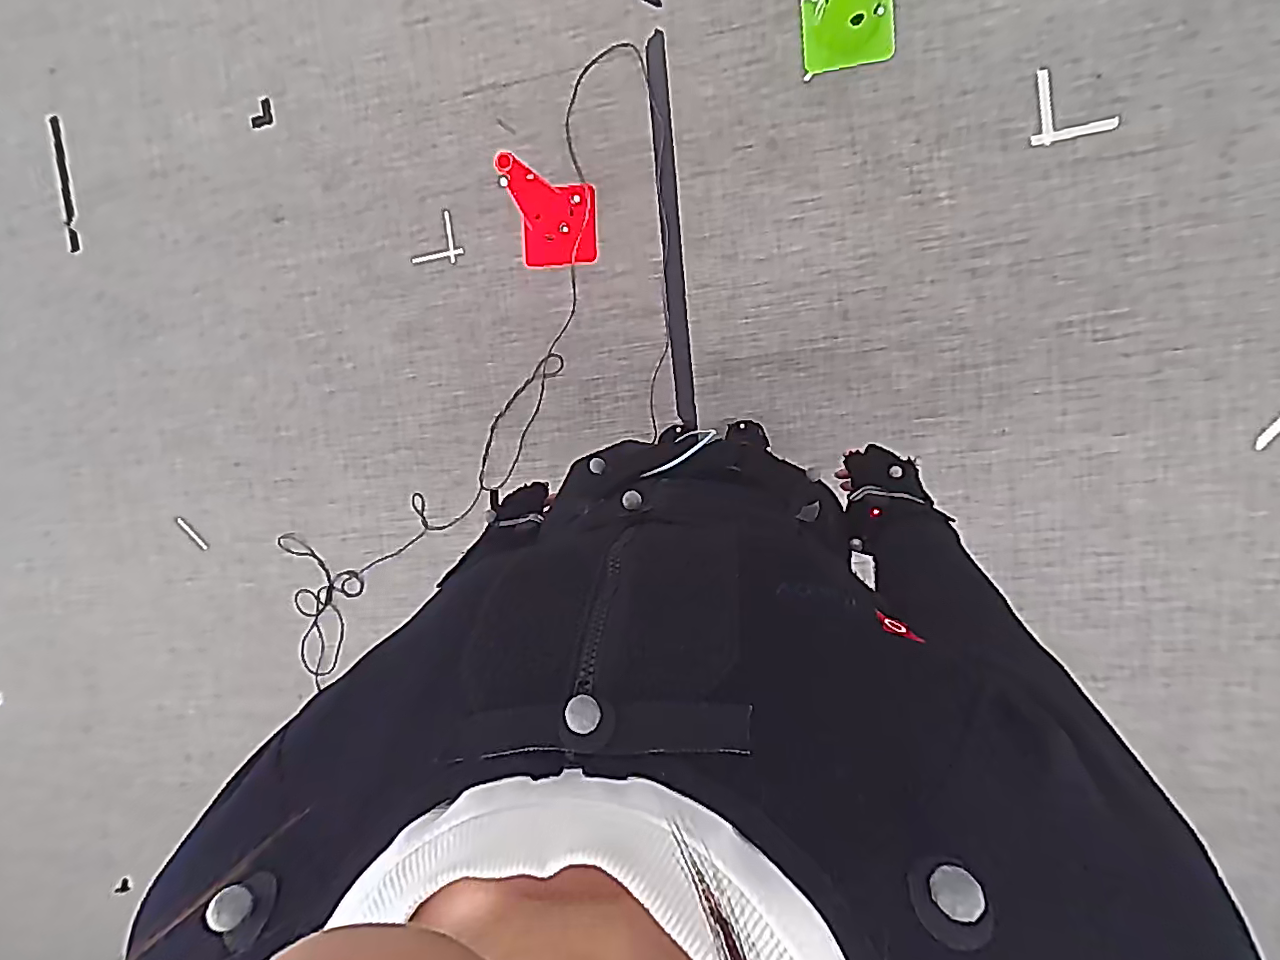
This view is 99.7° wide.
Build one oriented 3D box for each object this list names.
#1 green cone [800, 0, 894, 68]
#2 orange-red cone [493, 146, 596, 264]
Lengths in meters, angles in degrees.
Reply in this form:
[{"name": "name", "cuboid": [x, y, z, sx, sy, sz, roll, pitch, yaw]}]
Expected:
[{"name": "green cone", "cuboid": [0.450, -1.047, 1.074, 0.202, 0.368, 0.200, -5, 95, 9]}, {"name": "orange-red cone", "cuboid": [-0.244, -0.653, 1.239, 0.199, 0.360, 0.198, 0, 94, 11]}]
